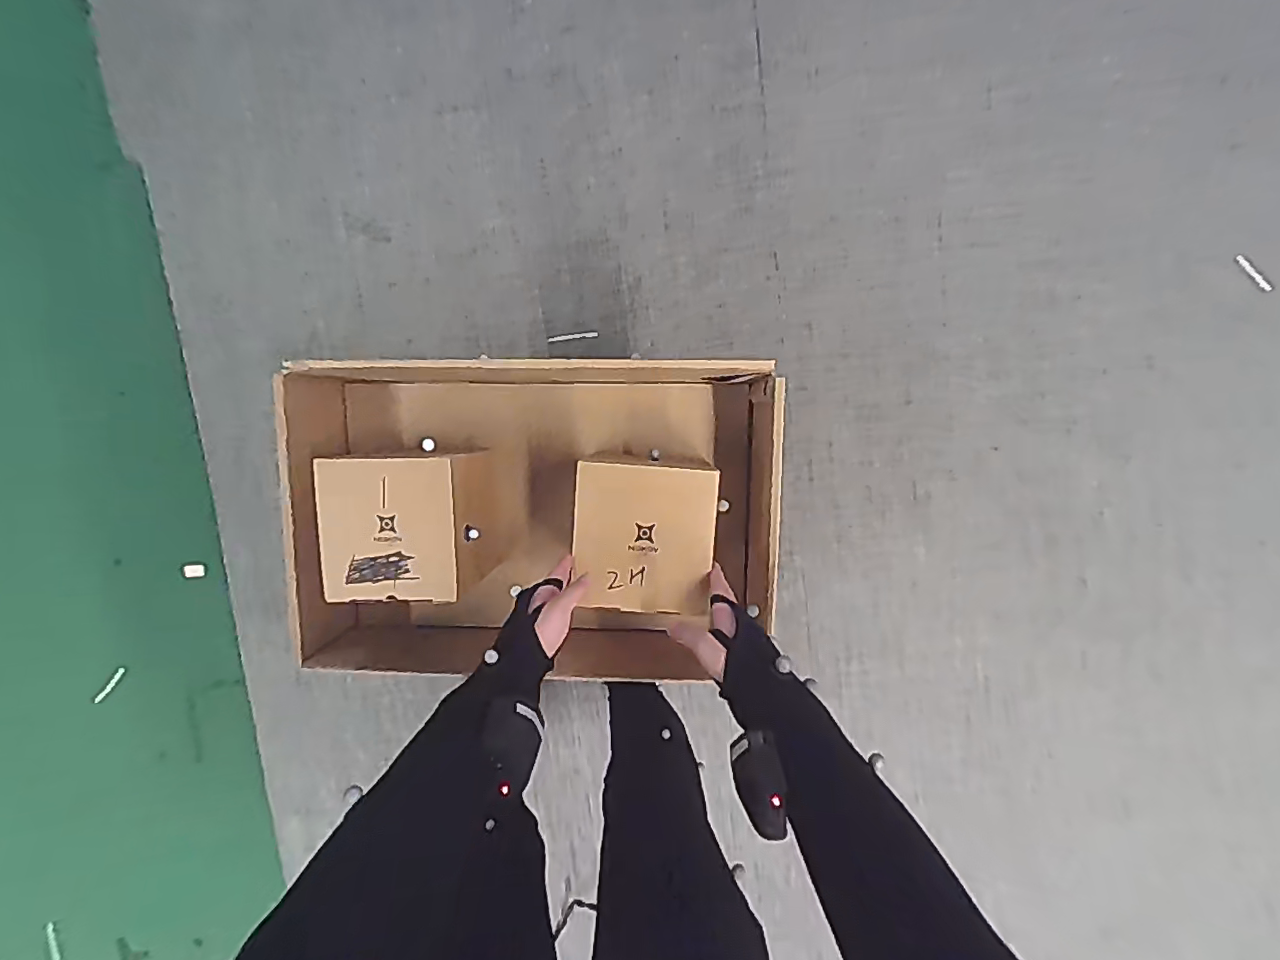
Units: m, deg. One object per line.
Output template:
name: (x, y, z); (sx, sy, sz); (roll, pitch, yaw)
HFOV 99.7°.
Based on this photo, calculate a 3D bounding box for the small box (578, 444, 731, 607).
small box: (0.018, 0.047, 0.699); (0.168, 0.176, 0.179); (4, 97, 2)
